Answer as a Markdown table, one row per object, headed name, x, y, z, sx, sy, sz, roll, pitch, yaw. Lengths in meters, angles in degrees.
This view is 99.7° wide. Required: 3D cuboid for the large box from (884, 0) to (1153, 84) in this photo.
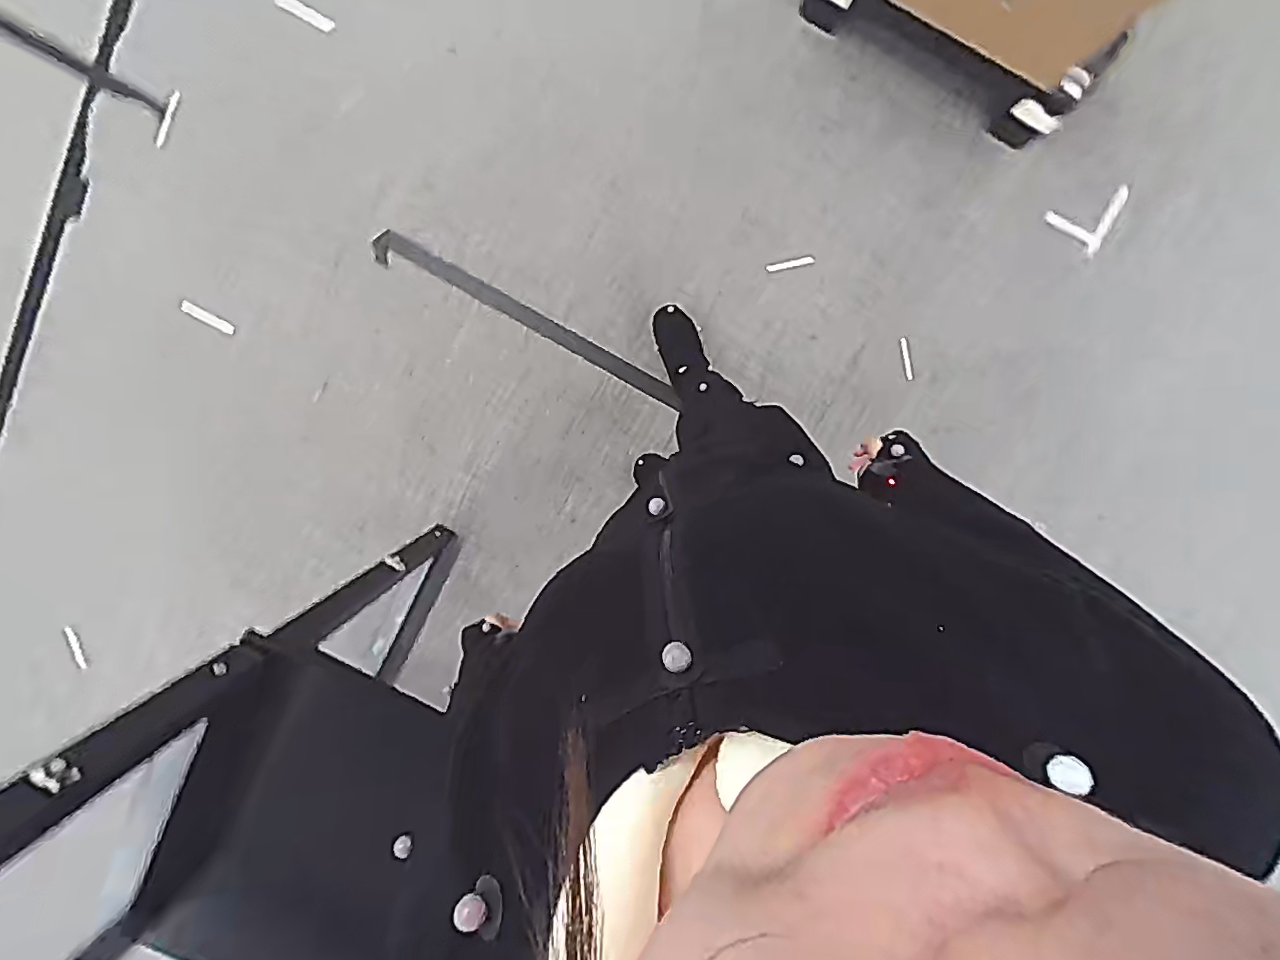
| name | x | y | z | sx | sy | sz | roll | pitch | yaw |
| --- | --- | --- | --- | --- | --- | --- | --- | --- | --- |
| large box | 0.744 | -1.030 | 0.974 | 0.408 | 0.320 | 0.320 | 26 | 98 | -2 |
